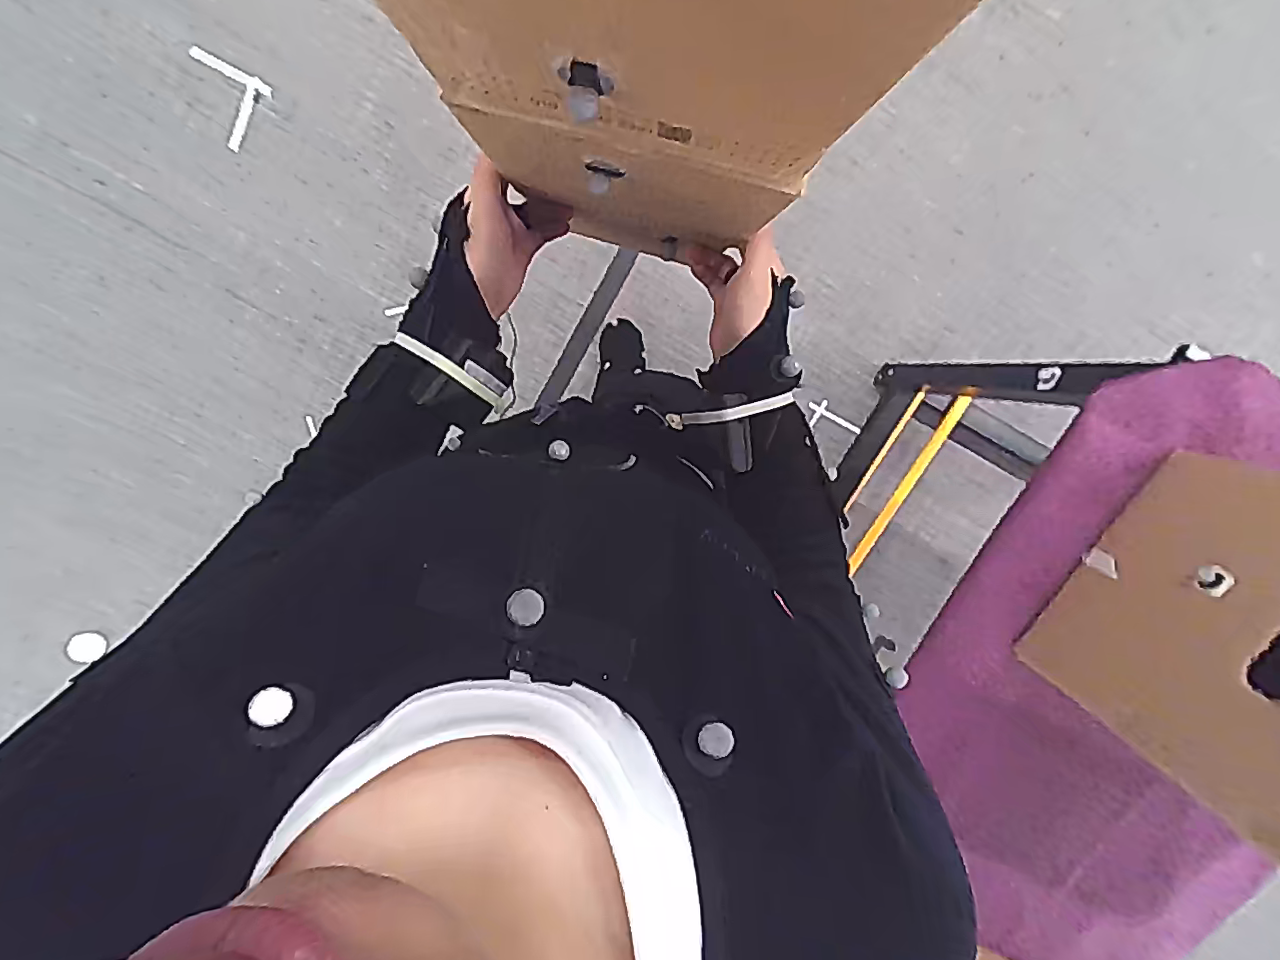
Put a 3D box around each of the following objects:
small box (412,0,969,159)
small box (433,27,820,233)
[{"bbox_3d":[0.013,-0.218,0.140,0.168,0.176,0.179,11,105,-3],"label":"small box"},{"bbox_3d":[0.011,-0.251,0.299,0.179,0.176,0.168,12,105,-4],"label":"small box"}]
